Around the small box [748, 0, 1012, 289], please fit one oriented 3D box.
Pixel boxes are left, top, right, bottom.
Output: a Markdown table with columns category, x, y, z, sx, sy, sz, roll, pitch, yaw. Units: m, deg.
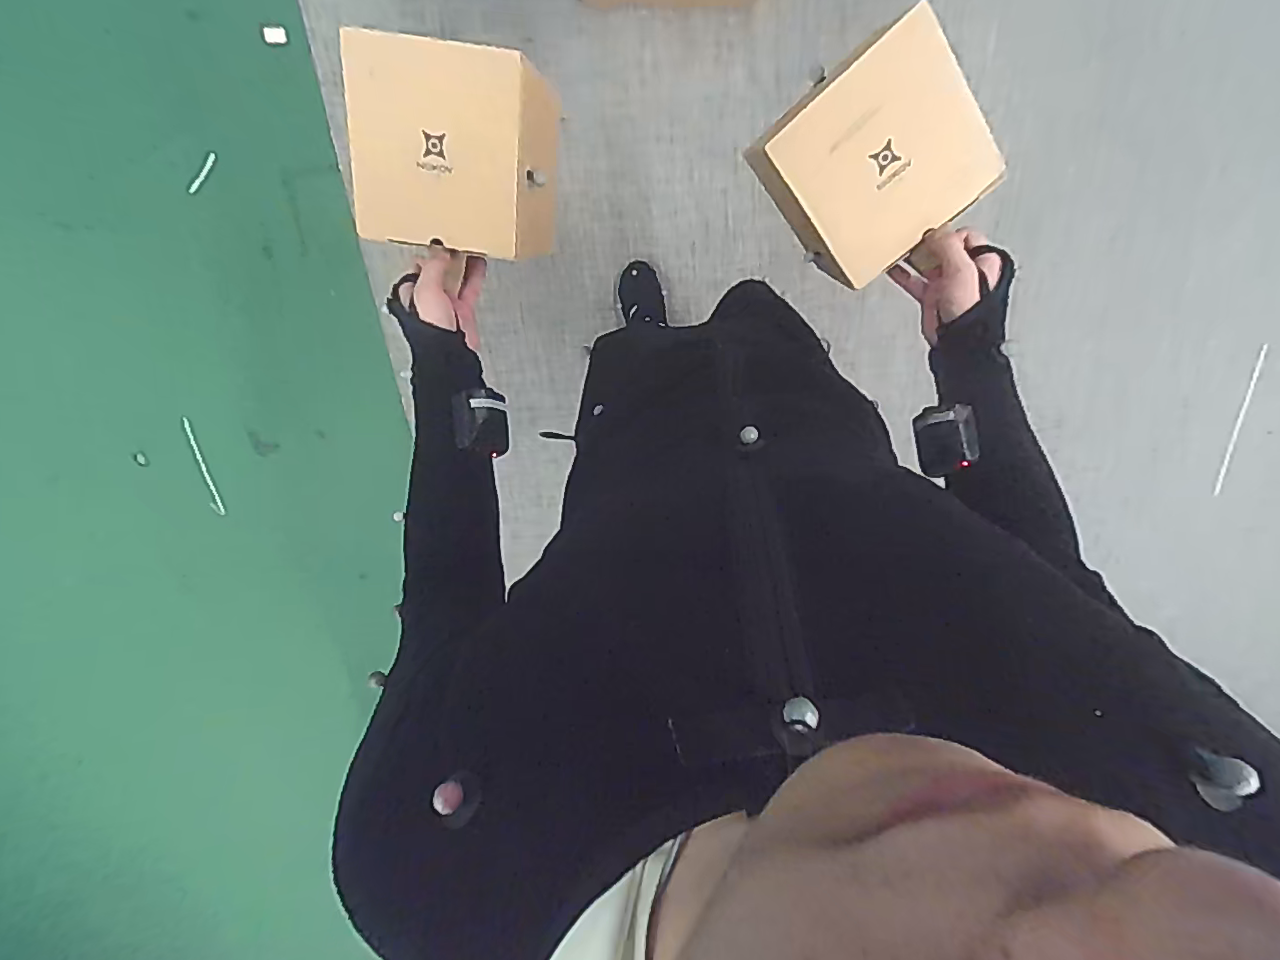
| category | x | y | z | sx | sy | sz | roll | pitch | yaw |
| --- | --- | --- | --- | --- | --- | --- | --- | --- | --- |
| small box | 0.235 | -0.336 | 0.568 | 0.168 | 0.176 | 0.179 | -36 | 112 | 20 |

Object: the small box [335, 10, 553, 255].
| category | x | y | z | sx | sy | sz | roll | pitch | yaw |
| --- | --- | --- | --- | --- | --- | --- | --- | --- | --- |
| small box | -0.191 | -0.348 | 0.573 | 0.168 | 0.176 | 0.179 | 9 | 117 | -1 |
